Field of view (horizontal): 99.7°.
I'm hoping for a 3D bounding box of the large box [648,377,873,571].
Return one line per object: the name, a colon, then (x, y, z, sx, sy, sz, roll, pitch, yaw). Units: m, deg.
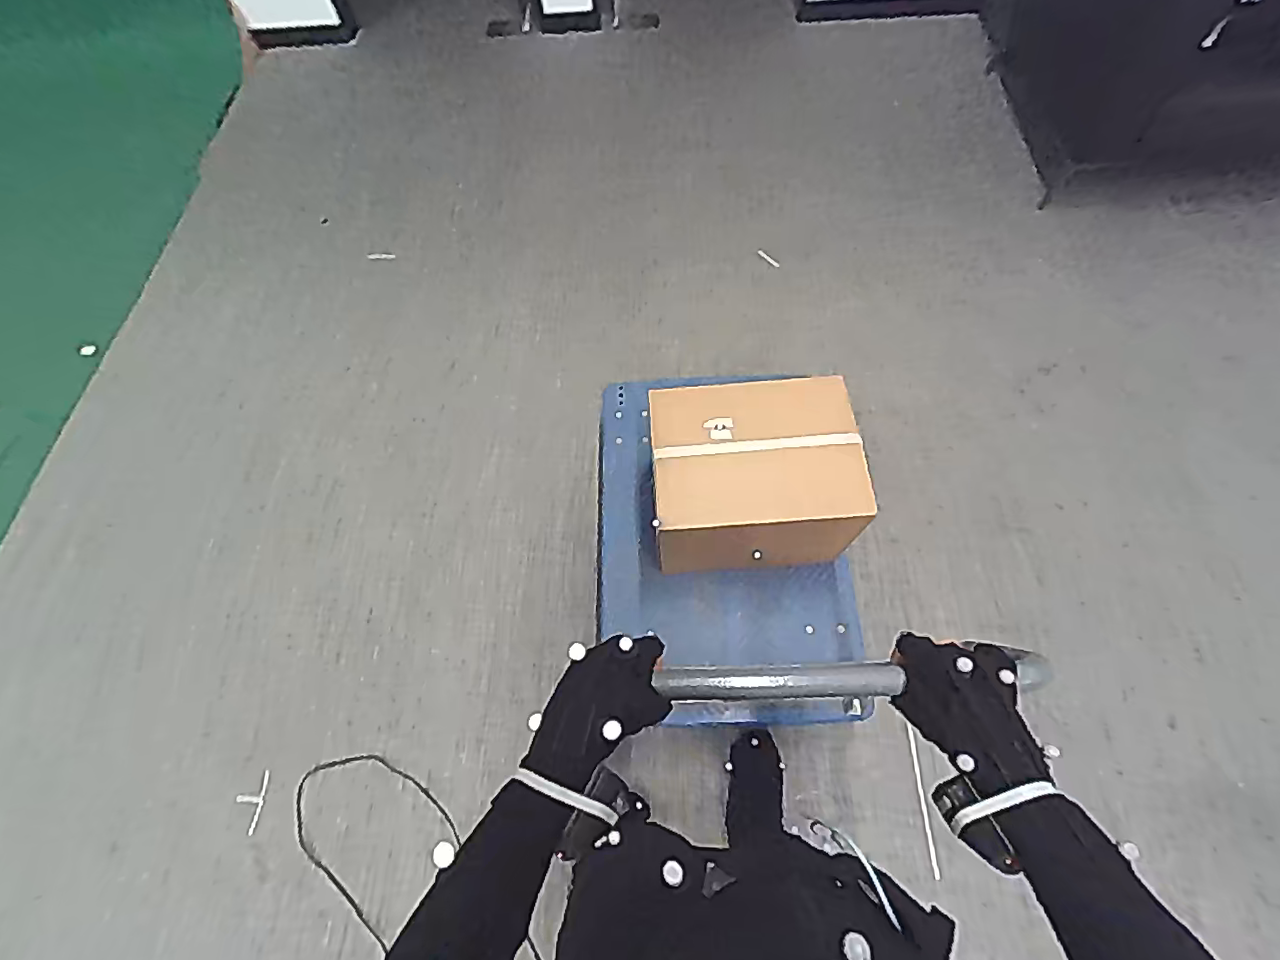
large box: (0.239, 0.004, 1.208, 0.408, 0.320, 0.320, -6, 65, 2)
